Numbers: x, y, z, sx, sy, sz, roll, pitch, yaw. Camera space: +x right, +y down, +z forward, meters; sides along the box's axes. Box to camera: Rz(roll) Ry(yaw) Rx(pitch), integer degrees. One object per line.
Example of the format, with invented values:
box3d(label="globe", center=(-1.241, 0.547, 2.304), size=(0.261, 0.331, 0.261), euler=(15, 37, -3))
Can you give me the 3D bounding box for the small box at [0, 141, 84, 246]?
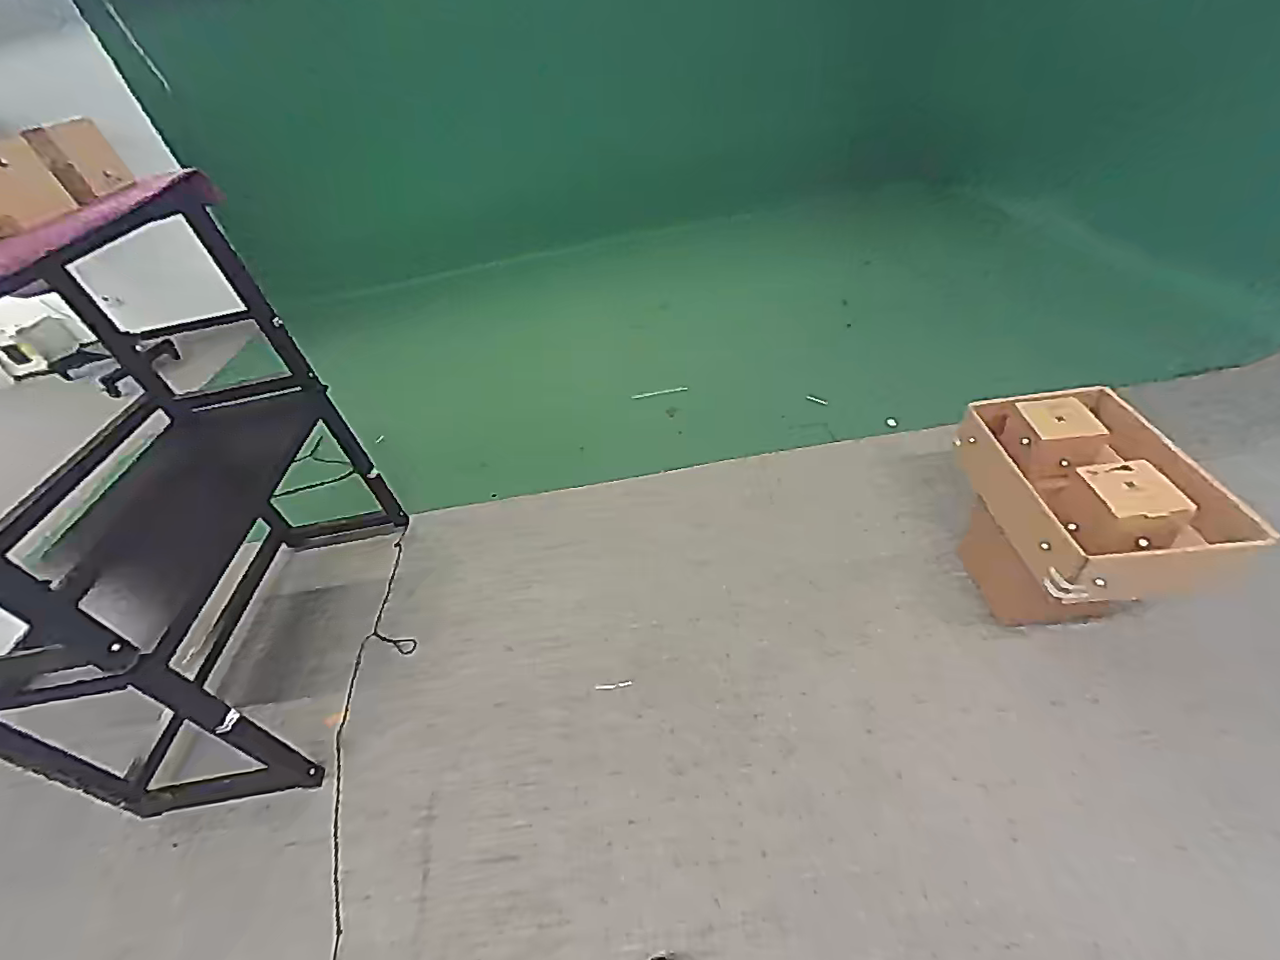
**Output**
box3d(label="small box", center=(-1.452, -0.643, 1.230), size=(0.168, 0.176, 0.179), euler=(-11, 41, 3))
